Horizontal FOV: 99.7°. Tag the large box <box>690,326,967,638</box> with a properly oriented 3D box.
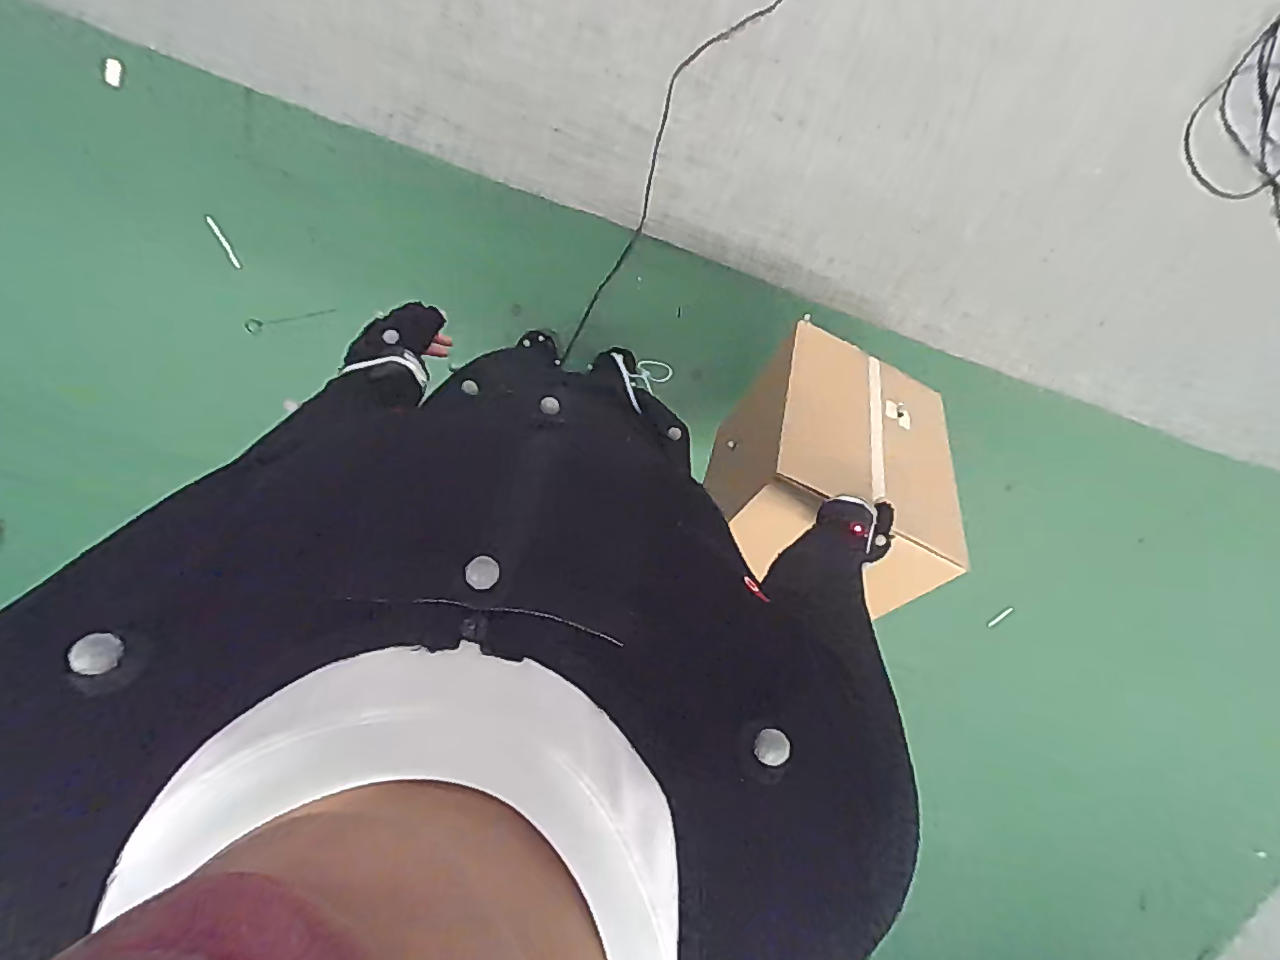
[{"bbox_3d":[0.319,0.006,0.981,0.320,0.408,0.320,27,138,-7],"label":"large box"}]
